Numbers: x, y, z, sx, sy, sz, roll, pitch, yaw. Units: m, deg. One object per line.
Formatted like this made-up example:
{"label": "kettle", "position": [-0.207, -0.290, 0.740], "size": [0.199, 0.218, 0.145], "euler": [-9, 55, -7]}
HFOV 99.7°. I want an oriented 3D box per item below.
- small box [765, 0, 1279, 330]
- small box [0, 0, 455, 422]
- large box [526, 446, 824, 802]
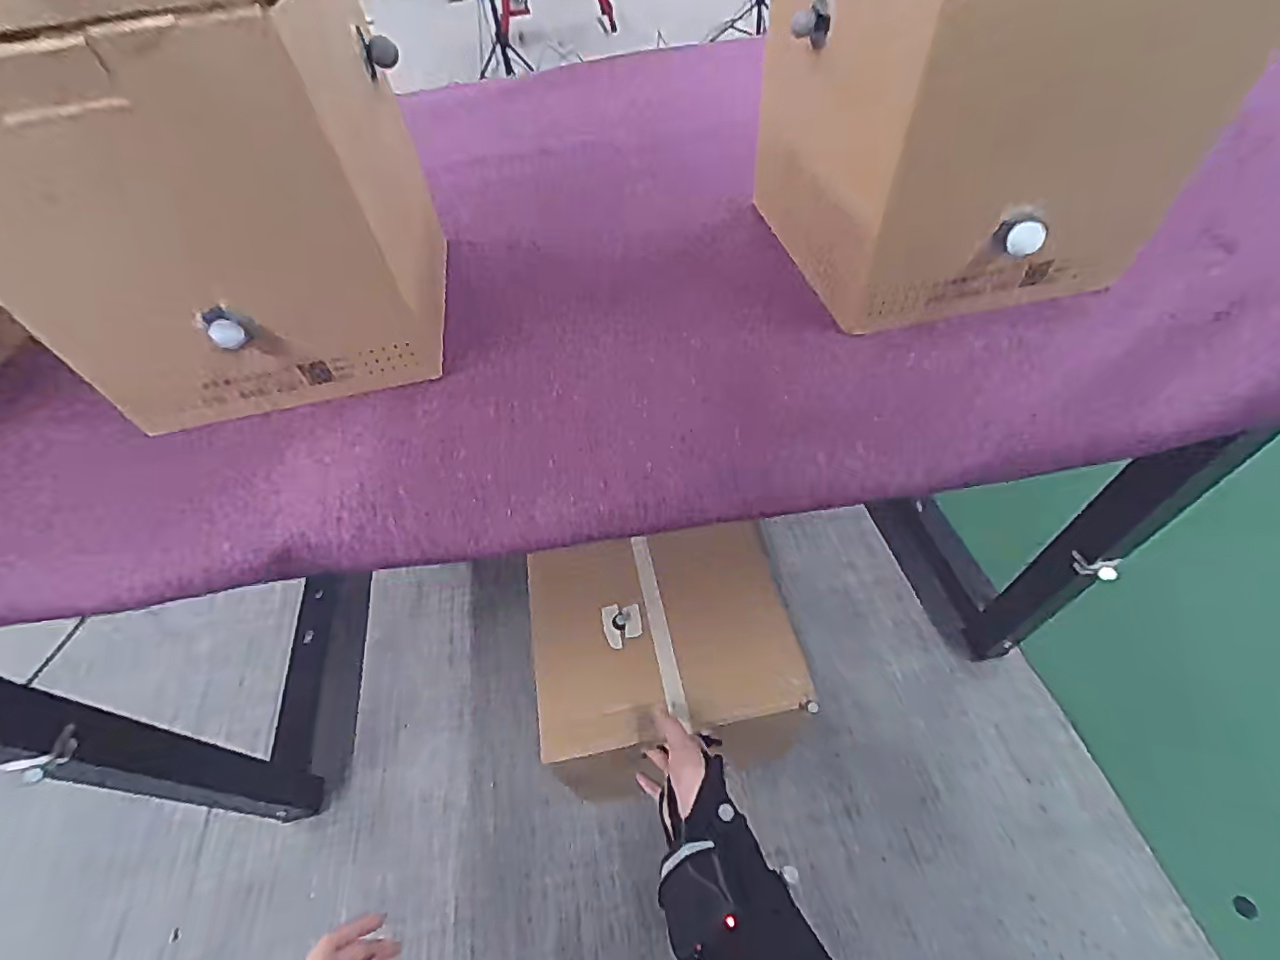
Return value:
{"label": "small box", "position": [0.179, -0.213, 0.305], "size": [0.168, 0.176, 0.179], "euler": [-11, 52, -3]}
{"label": "small box", "position": [-0.212, -0.160, 0.300], "size": [0.168, 0.176, 0.179], "euler": [-13, 51, -4]}
{"label": "large box", "position": [0.027, 0.217, 0.827], "size": [0.320, 0.320, 0.408], "euler": [-12, 53, -3]}
